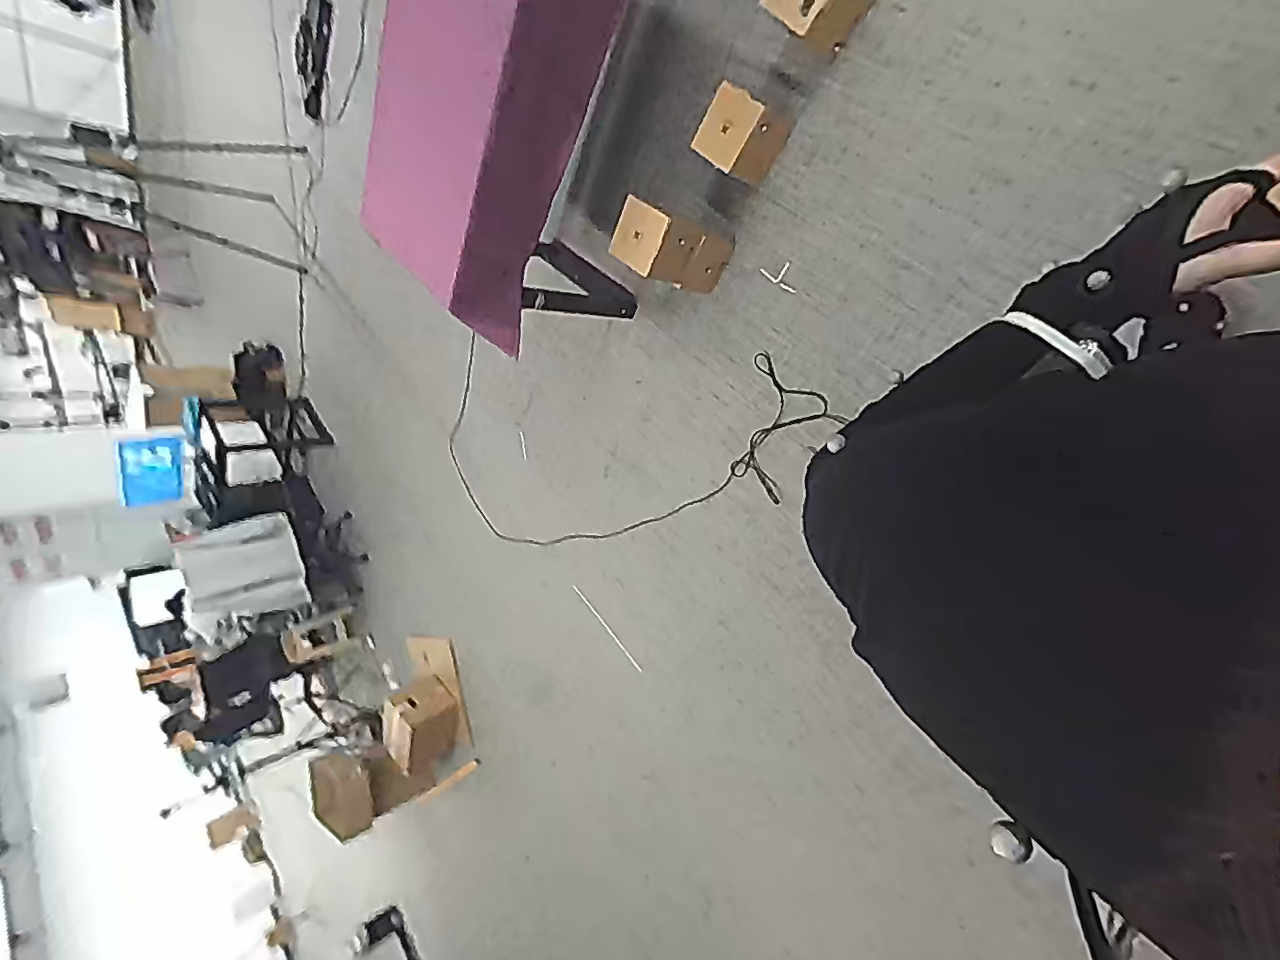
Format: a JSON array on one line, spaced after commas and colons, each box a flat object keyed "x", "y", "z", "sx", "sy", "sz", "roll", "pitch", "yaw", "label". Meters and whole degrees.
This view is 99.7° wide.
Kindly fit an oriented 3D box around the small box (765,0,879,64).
[{"x": 0.453, "y": -1.178, "z": 1.337, "sx": 0.179, "sy": 0.176, "sz": 0.168, "roll": 55, "pitch": 128, "yaw": 21, "label": "small box"}]
